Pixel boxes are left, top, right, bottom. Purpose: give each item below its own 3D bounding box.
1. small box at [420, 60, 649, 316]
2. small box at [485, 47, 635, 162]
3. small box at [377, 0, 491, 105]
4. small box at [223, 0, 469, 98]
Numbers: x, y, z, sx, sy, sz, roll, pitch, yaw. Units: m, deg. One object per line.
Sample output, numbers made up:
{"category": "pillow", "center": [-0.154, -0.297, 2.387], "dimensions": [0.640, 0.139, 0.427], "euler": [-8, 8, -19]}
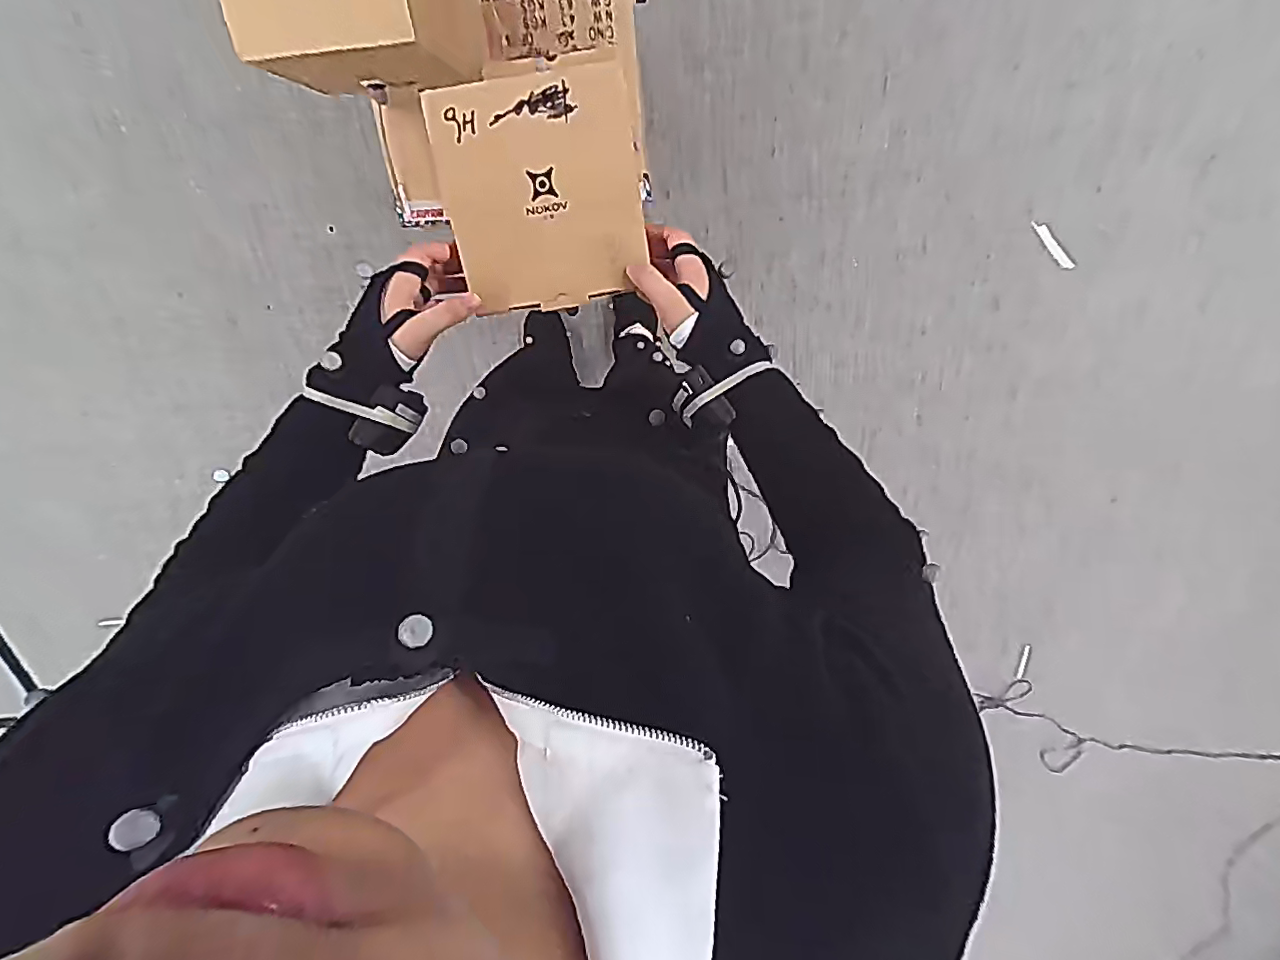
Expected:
{"category": "small box", "center": [-0.086, -0.271, 0.533], "dimensions": [0.168, 0.176, 0.179], "euler": [-10, 112, 0]}
{"category": "small box", "center": [-0.094, -0.442, 0.726], "dimensions": [0.168, 0.176, 0.179], "euler": [-6, 116, 2]}
{"category": "small box", "center": [-0.290, -0.583, 0.656], "dimensions": [0.168, 0.176, 0.179], "euler": [-4, 116, 2]}
{"category": "small box", "center": [-0.282, -0.494, 0.518], "dimensions": [0.168, 0.176, 0.179], "euler": [-4, 117, 3]}
